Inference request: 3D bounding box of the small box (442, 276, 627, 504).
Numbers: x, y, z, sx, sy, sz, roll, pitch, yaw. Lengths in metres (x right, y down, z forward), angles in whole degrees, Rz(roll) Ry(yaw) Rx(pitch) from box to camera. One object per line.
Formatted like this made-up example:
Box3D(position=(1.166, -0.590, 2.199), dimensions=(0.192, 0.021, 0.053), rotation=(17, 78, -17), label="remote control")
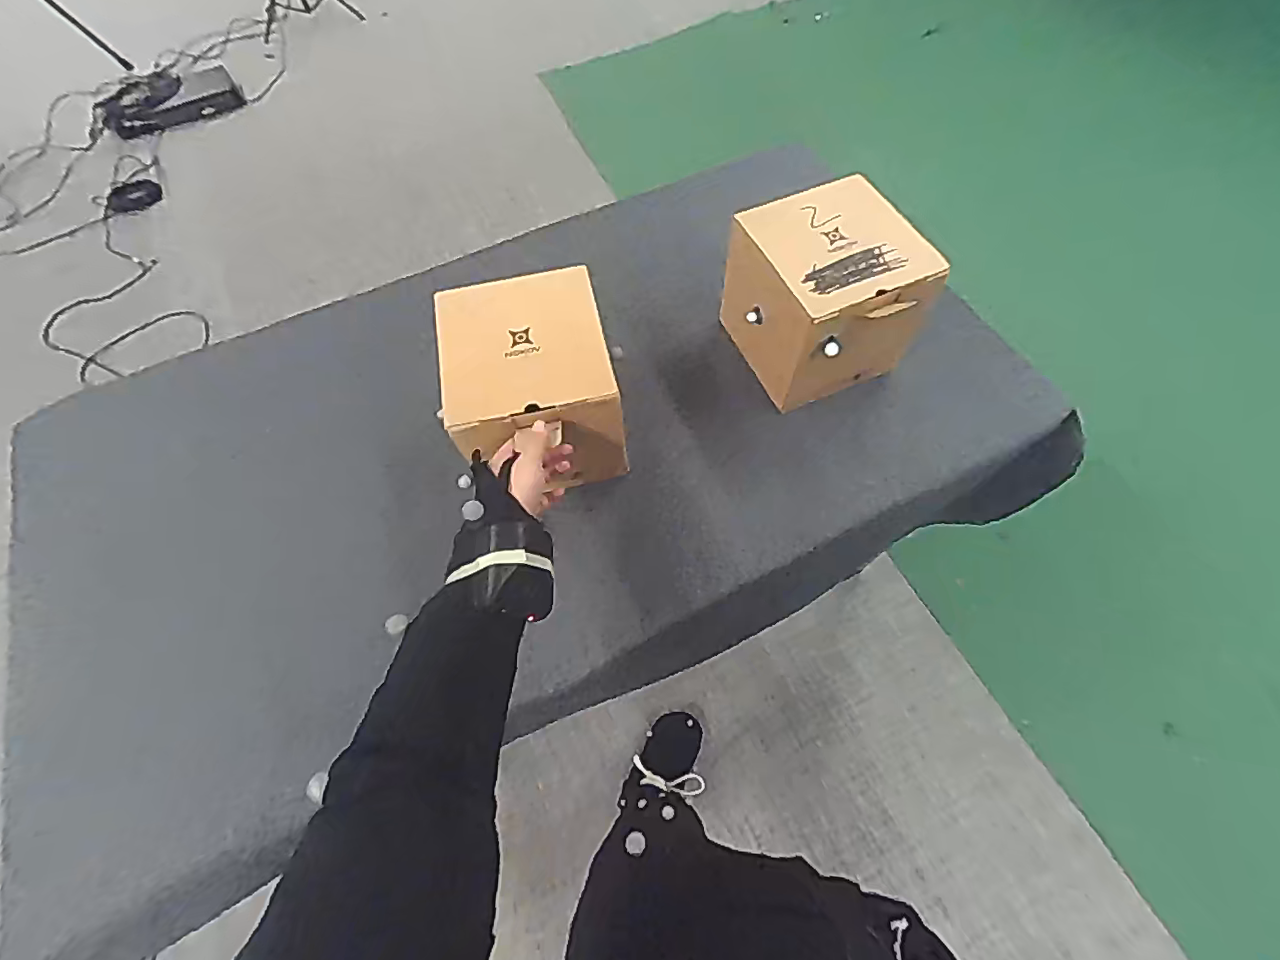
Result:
Box3D(position=(-0.112, -0.095, 0.613), dimensions=(0.168, 0.176, 0.179), rotation=(-12, 64, -4), label="small box")
